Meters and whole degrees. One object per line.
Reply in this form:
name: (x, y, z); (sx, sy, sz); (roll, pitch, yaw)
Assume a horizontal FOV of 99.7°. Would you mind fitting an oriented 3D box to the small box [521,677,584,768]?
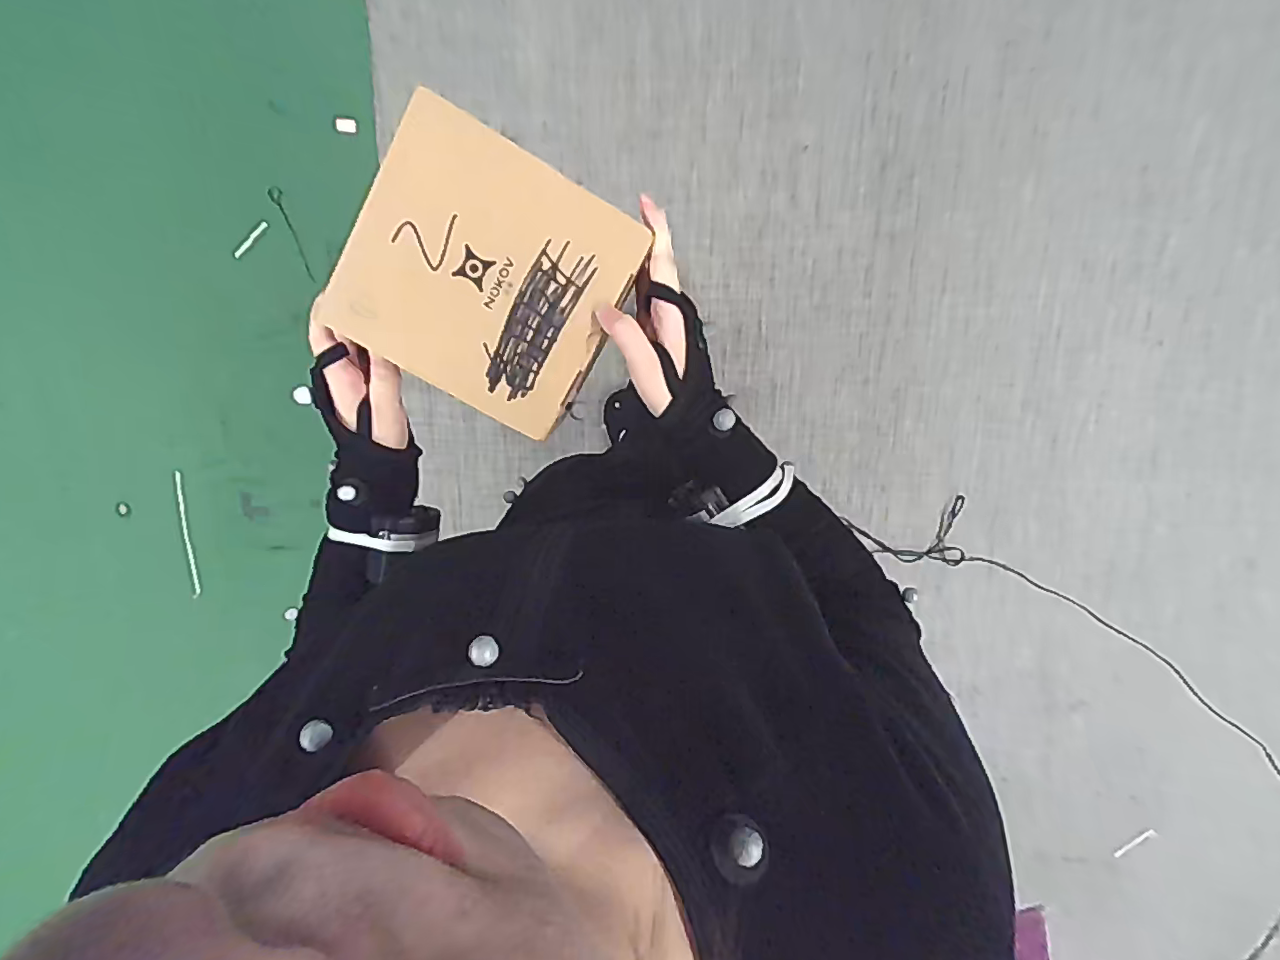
small box: (-0.260, 0.700, 1.569); (0.168, 0.176, 0.179); (10, 103, -1)
